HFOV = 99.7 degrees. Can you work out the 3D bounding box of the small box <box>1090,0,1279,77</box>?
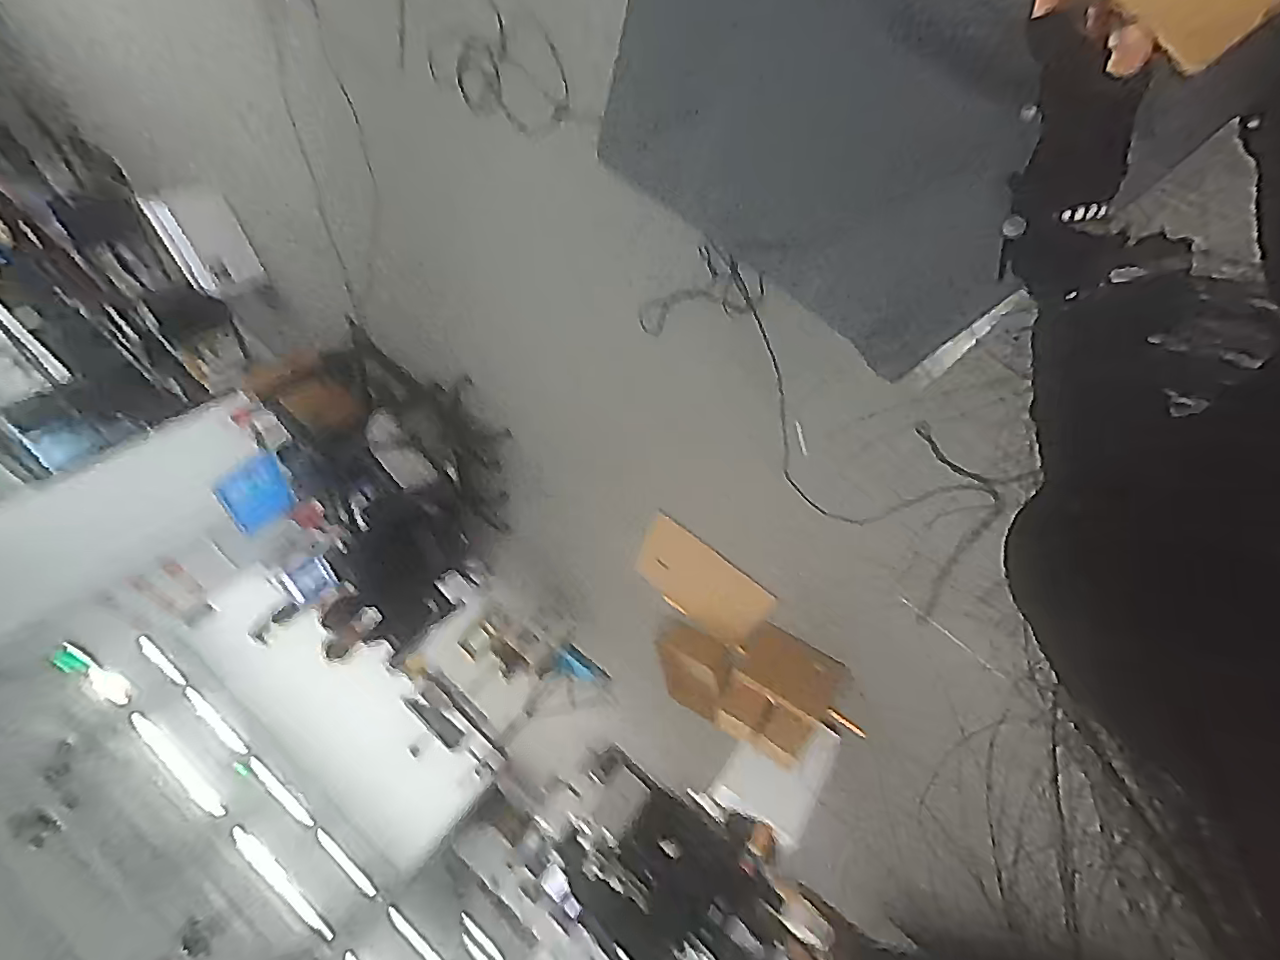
[{"bbox_3d":[0.317,-0.362,0.284,0.179,0.176,0.168,37,139,-8],"label":"small box"}]
